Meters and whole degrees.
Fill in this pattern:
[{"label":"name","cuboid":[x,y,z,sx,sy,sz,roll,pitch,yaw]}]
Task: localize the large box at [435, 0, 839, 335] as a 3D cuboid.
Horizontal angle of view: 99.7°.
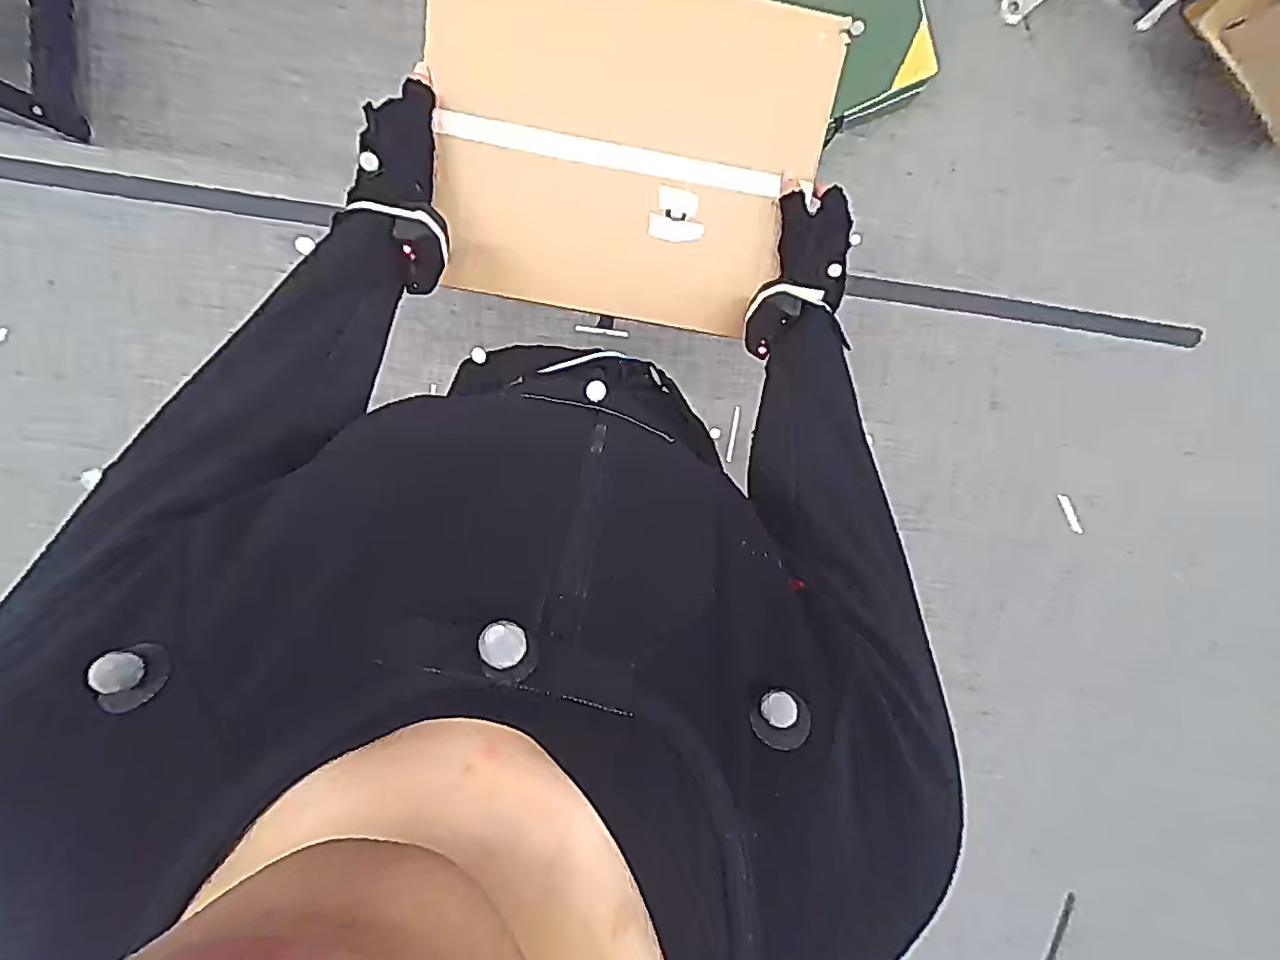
[{"label":"large box","cuboid":[-0.021,-0.385,0.720,0.408,0.320,0.320,8,108,-5]}]
